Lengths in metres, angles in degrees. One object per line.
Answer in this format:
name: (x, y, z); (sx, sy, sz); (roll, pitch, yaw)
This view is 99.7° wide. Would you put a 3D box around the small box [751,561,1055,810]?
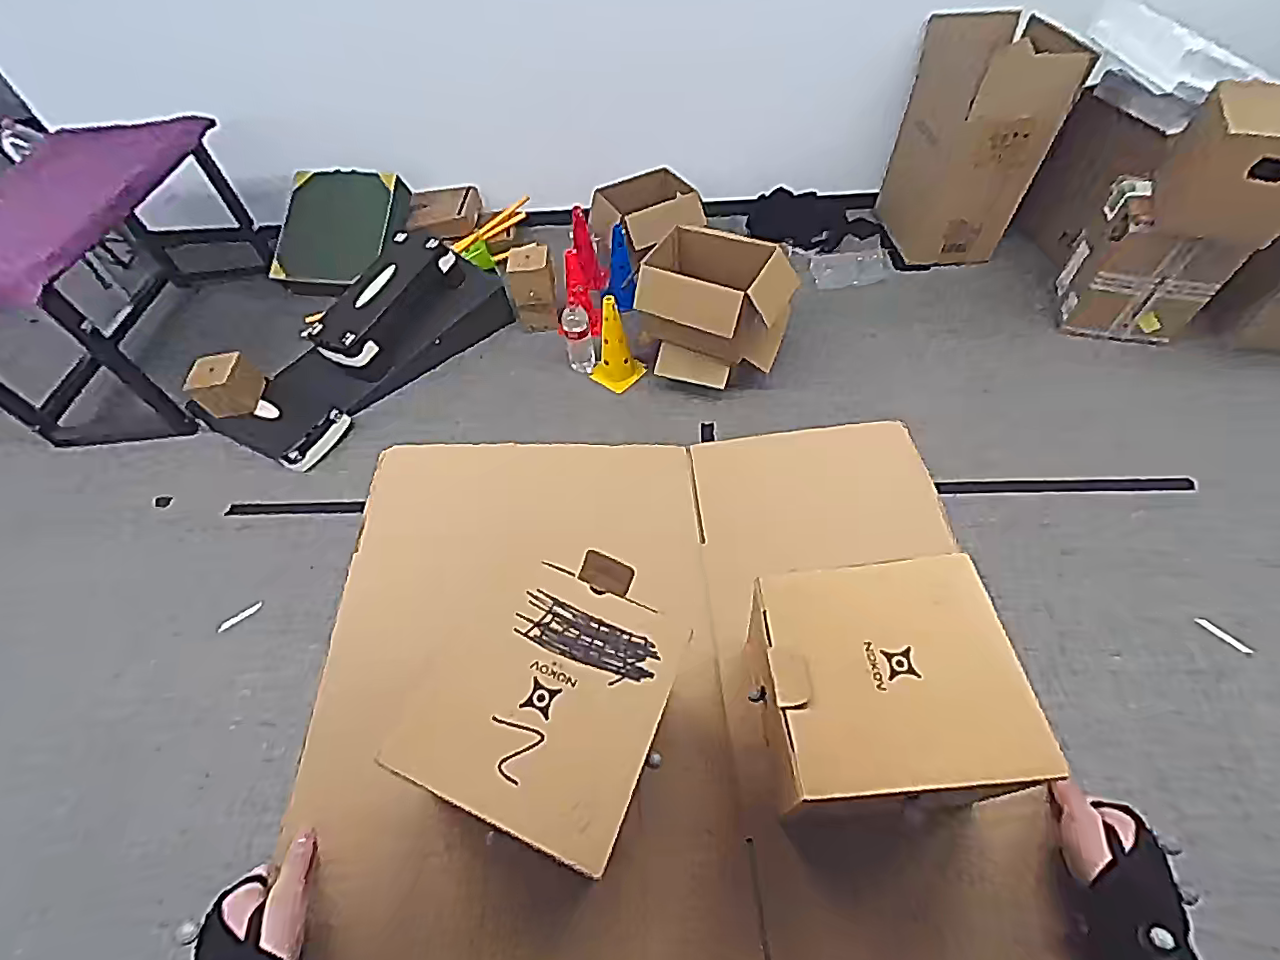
small box: (0.202, 0.188, 0.480); (0.179, 0.176, 0.168); (-7, 54, 4)
